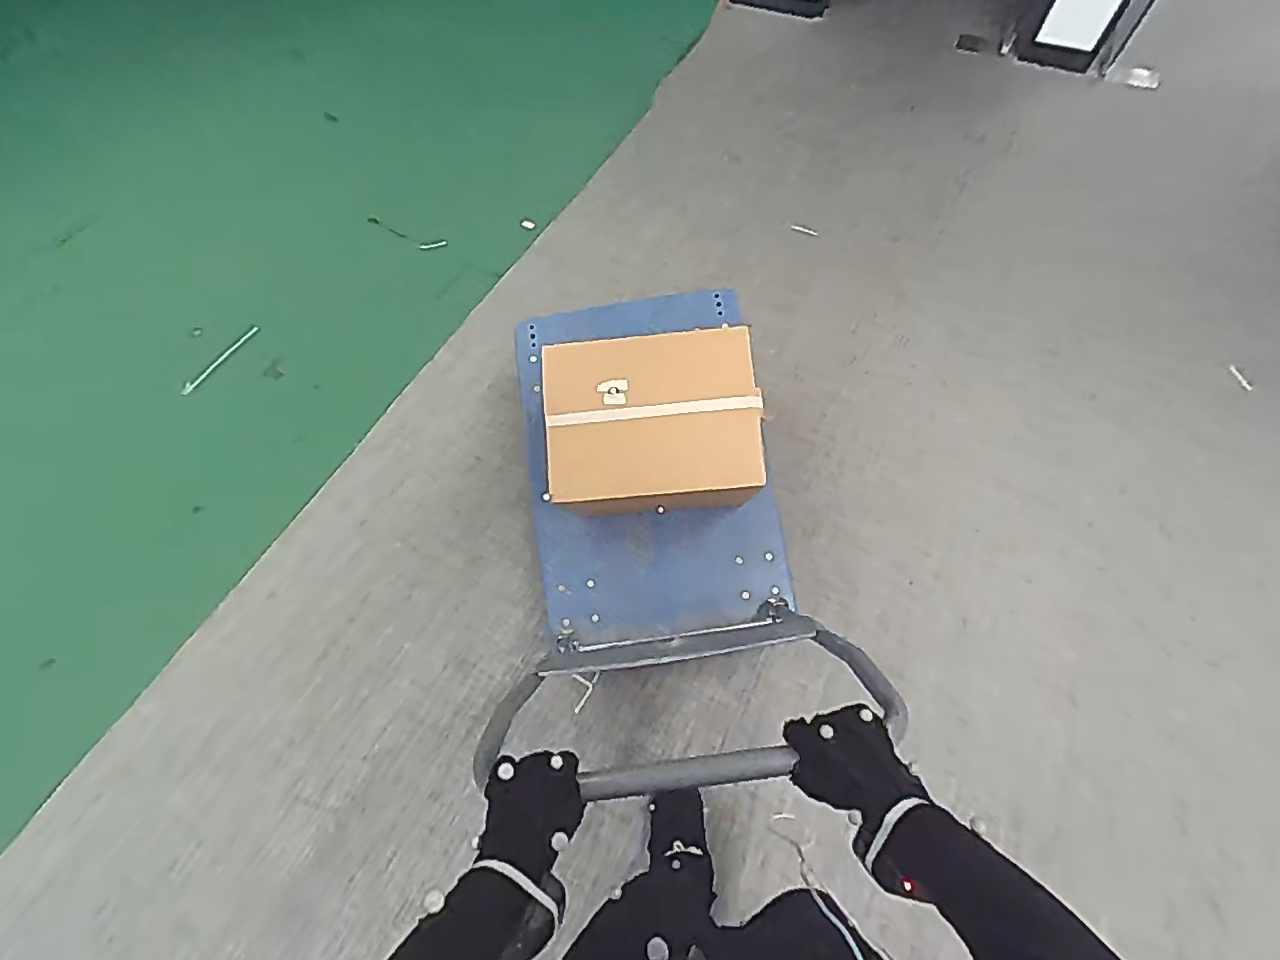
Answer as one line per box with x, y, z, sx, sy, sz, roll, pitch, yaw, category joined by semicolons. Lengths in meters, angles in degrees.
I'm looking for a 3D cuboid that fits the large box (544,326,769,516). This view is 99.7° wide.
0.038;-0.102;1.165;0.408;0.320;0.320;-6;81;4;large box
